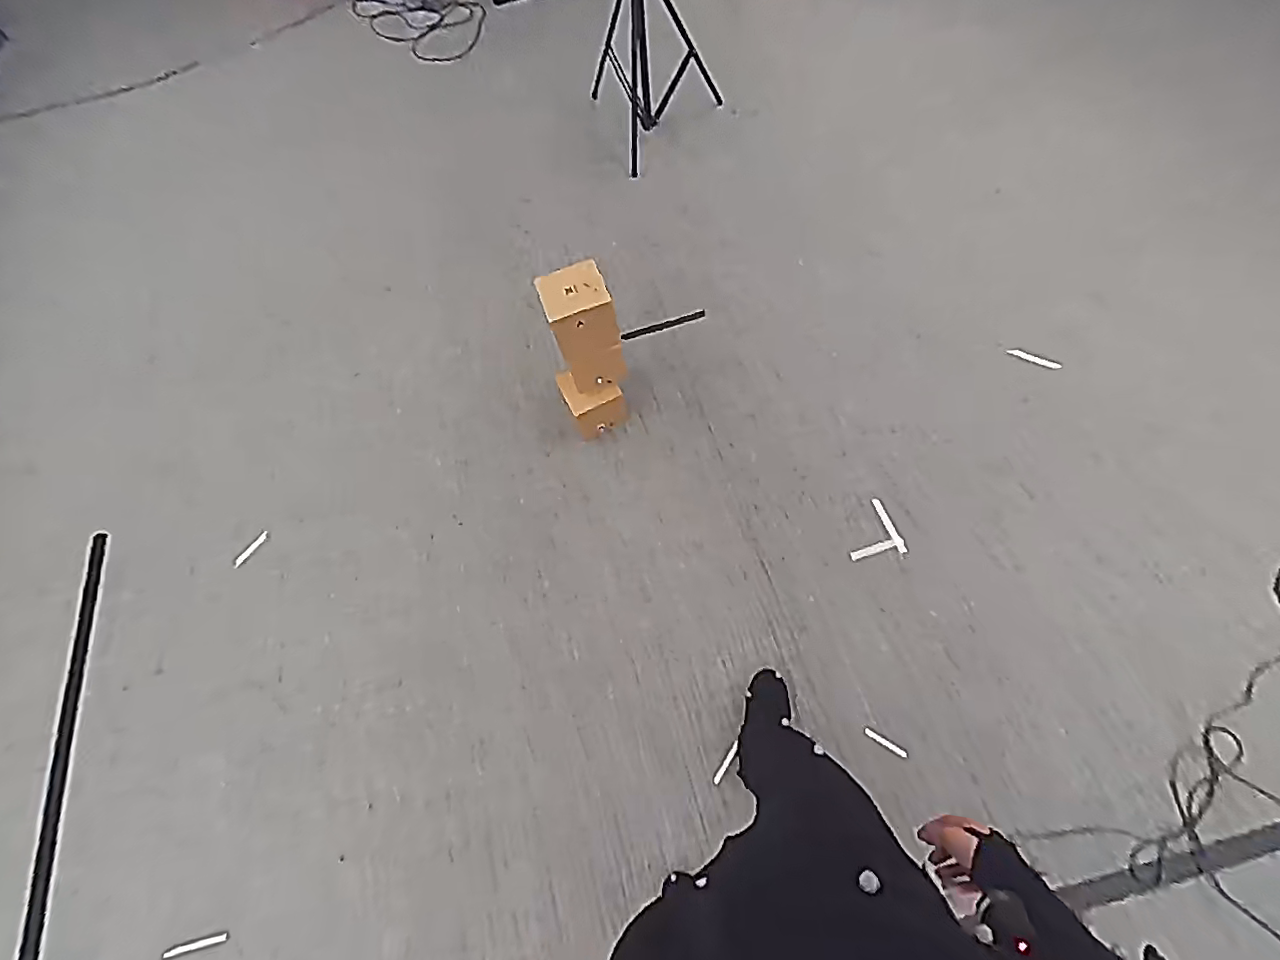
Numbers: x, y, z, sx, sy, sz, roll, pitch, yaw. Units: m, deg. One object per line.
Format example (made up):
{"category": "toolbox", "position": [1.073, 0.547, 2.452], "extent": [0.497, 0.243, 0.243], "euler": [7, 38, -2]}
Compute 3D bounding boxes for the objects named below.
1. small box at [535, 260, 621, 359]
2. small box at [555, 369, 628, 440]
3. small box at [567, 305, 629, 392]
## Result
{"category": "small box", "position": [-0.167, -0.459, 1.483], "extent": [0.179, 0.176, 0.168], "euler": [-20, 64, -2]}
{"category": "small box", "position": [-0.153, -0.261, 1.751], "extent": [0.168, 0.176, 0.179], "euler": [-27, 66, -6]}
{"category": "small box", "position": [-0.135, -0.394, 1.631], "extent": [0.168, 0.176, 0.179], "euler": [-13, 65, 1]}
